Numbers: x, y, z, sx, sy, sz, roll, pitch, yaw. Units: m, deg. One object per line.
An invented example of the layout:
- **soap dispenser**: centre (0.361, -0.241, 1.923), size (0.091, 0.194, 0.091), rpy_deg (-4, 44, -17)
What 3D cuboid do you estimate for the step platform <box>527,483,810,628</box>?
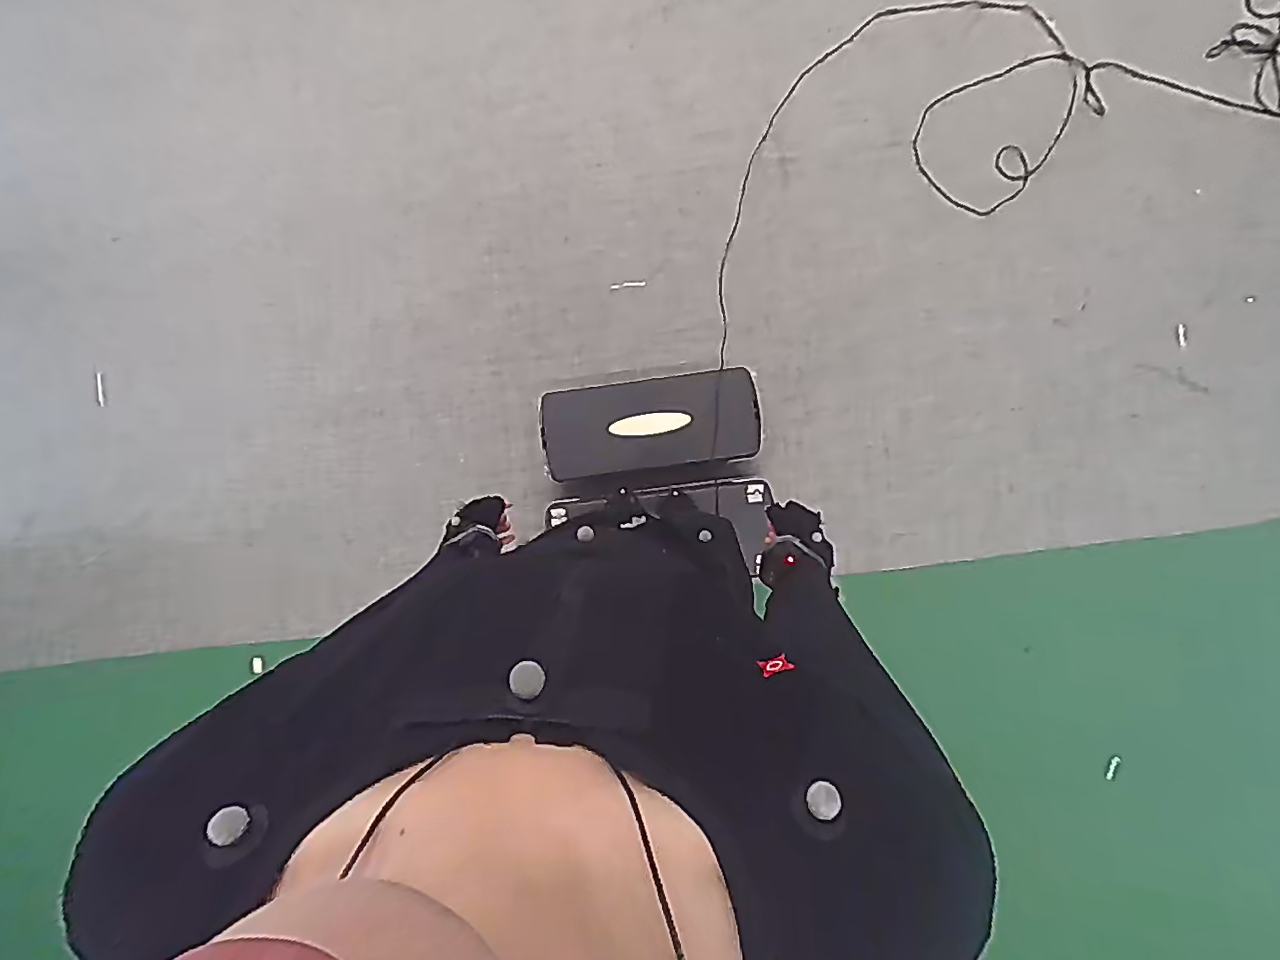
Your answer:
- **step platform**: centre (0.068, 0.186, 1.398), size (0.684, 0.204, 0.286), rpy_deg (-7, 89, 0)
